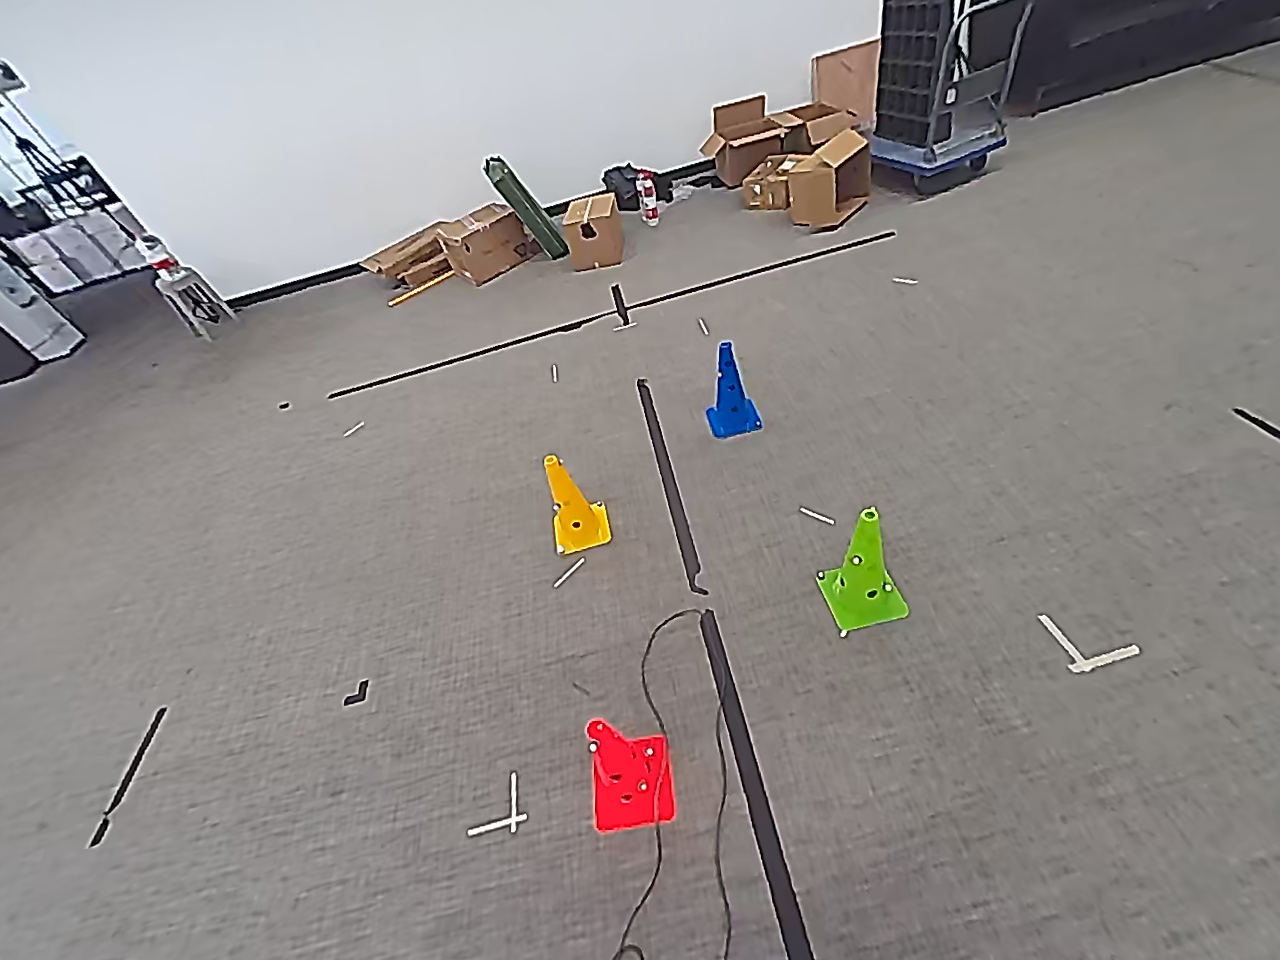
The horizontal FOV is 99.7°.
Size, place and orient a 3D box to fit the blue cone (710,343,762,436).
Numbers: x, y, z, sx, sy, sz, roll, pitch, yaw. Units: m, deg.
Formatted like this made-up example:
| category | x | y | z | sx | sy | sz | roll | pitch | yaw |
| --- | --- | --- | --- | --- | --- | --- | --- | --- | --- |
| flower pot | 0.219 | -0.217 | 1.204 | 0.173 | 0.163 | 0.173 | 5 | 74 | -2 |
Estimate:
| category | x | y | z | sx | sy | sz | roll | pitch | yaw |
| --- | --- | --- | --- | --- | --- | --- | --- | --- | --- |
| blue cone | 0.359 | -0.367 | 2.122 | 0.192 | 0.380 | 0.193 | -12 | 44 | 4 |

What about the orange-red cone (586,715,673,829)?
| category | x | y | z | sx | sy | sz | roll | pitch | yaw |
| --- | --- | --- | --- | --- | --- | --- | --- | --- | --- |
| orange-red cone | -0.058 | 0.630 | 1.234 | 0.199 | 0.360 | 0.198 | -13 | 42 | 6 |

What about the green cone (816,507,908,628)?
| category | x | y | z | sx | sy | sz | roll | pitch | yaw |
| --- | --- | --- | --- | --- | --- | --- | --- | --- | --- |
| green cone | 0.604 | 0.208 | 1.448 | 0.202 | 0.368 | 0.200 | -14 | 44 | 1 |
